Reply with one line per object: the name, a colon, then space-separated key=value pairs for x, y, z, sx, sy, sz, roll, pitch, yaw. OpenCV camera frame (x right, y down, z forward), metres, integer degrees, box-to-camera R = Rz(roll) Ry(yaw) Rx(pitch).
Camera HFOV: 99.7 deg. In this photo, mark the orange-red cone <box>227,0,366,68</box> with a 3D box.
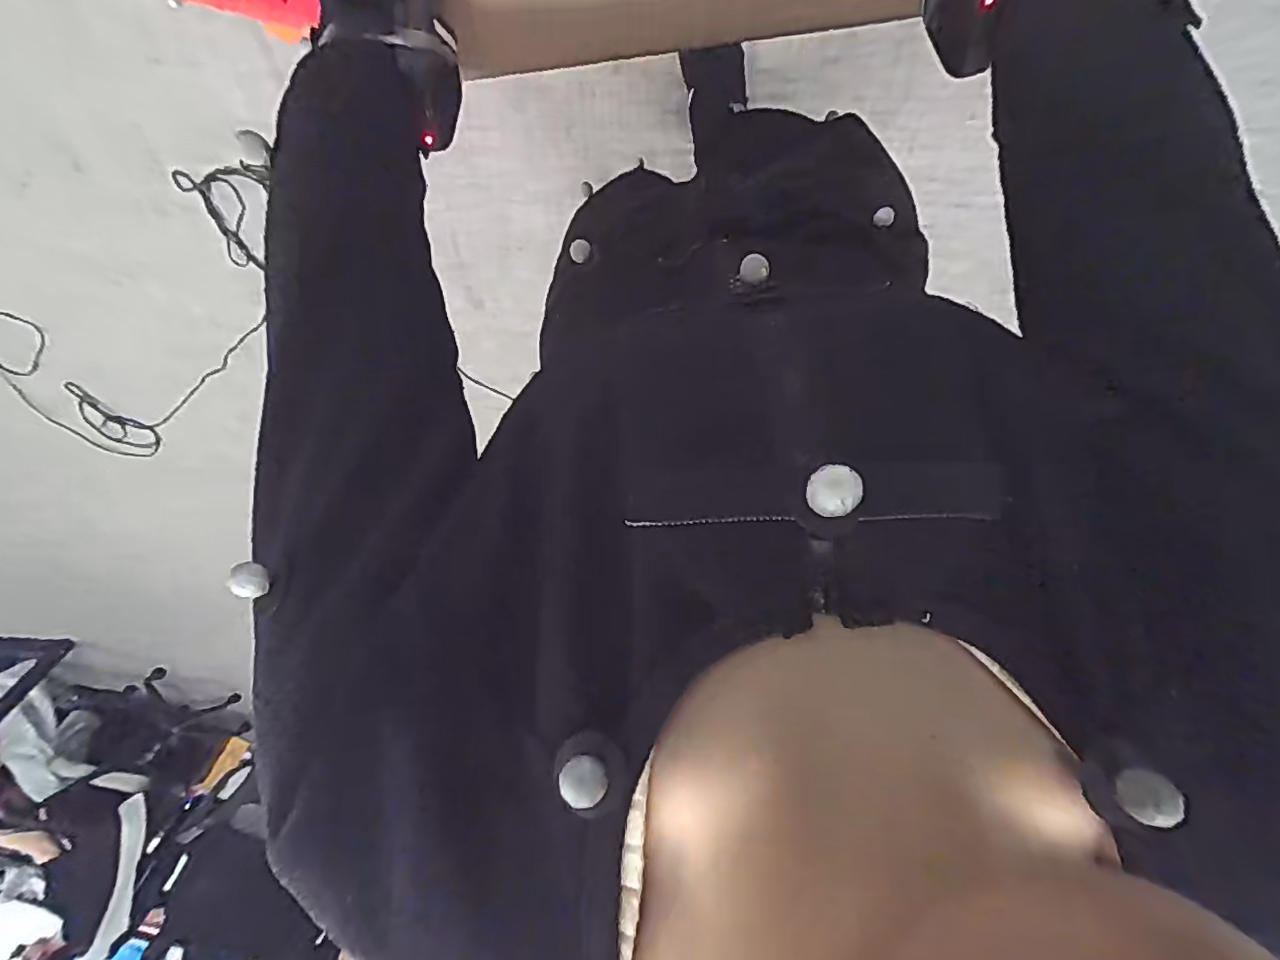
orange-red cone: x=-0.594 y=-0.760 z=0.812 sx=0.199 sy=0.360 sz=0.198 roll=19 pitch=129 yaw=-8
